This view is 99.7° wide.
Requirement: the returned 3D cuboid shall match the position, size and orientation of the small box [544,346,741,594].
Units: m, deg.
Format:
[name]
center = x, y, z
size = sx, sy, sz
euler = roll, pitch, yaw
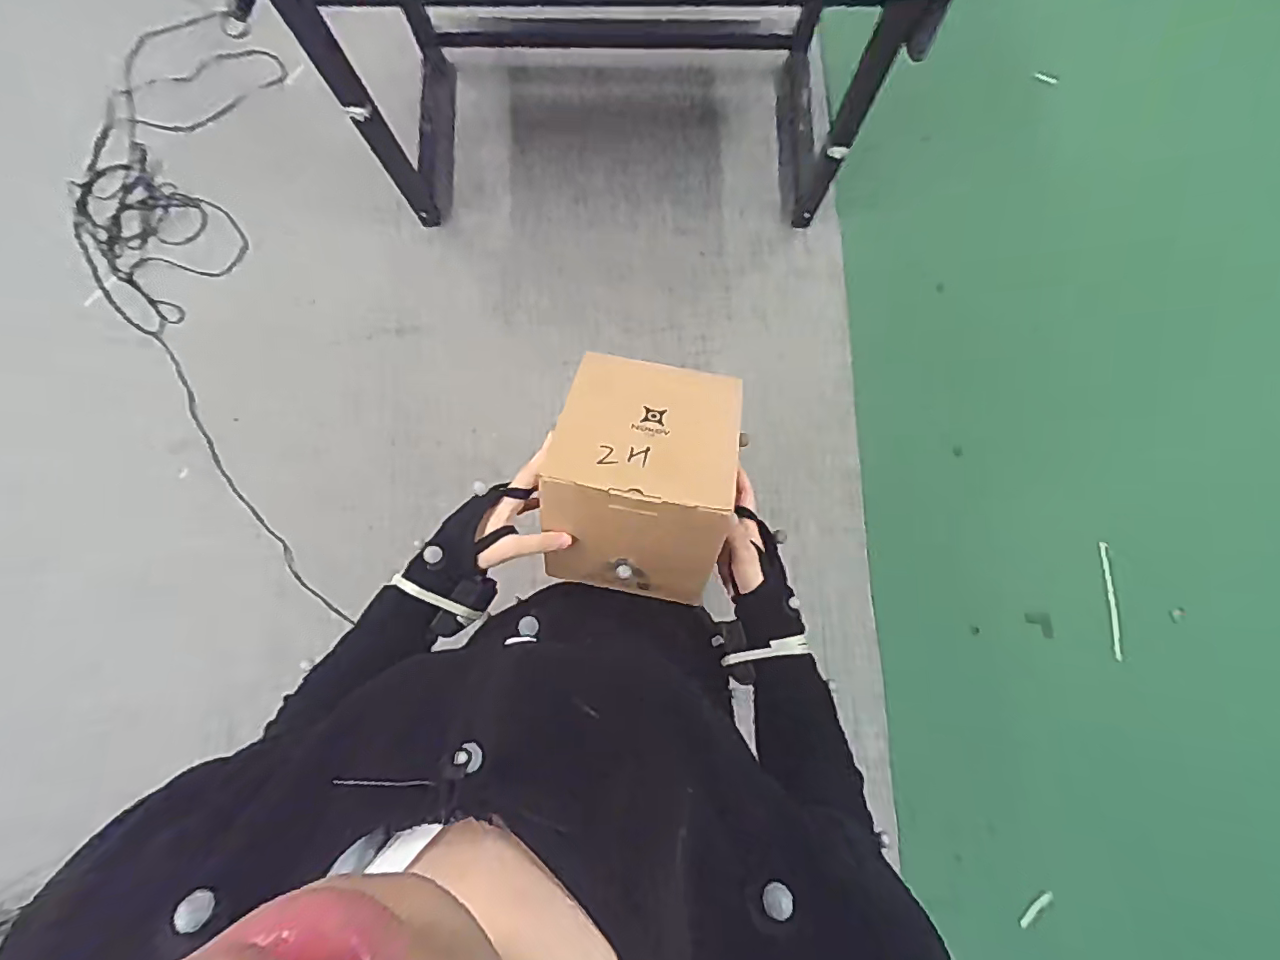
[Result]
[small box]
center = 0.003, -0.008, 0.565
size = 0.168, 0.176, 0.179
euler = 10, 52, 2
